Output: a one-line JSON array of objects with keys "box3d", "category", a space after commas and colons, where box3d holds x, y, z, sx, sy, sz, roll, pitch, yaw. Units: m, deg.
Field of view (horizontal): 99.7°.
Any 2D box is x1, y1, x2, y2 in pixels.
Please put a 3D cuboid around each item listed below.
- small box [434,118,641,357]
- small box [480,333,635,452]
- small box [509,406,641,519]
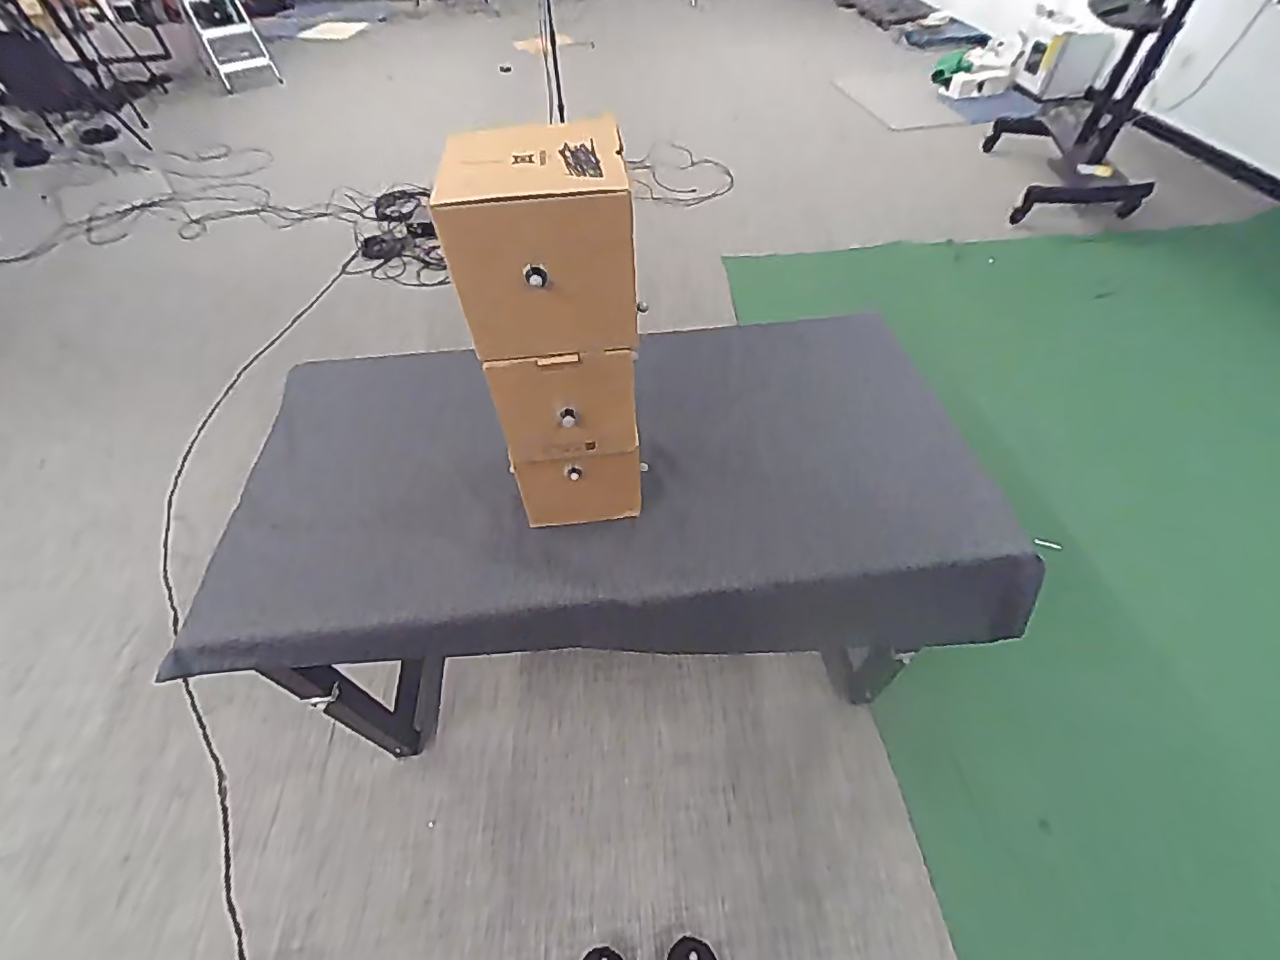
[{"box3d": [-0.097, -0.249, 0.565, 0.179, 0.176, 0.168, -7, 52, -5], "category": "small box"}, {"box3d": [-0.098, -0.150, 0.697, 0.168, 0.176, 0.179, -7, 53, -3], "category": "small box"}, {"box3d": [-0.094, -0.053, 0.828, 0.179, 0.176, 0.168, -5, 52, -4], "category": "small box"}]
